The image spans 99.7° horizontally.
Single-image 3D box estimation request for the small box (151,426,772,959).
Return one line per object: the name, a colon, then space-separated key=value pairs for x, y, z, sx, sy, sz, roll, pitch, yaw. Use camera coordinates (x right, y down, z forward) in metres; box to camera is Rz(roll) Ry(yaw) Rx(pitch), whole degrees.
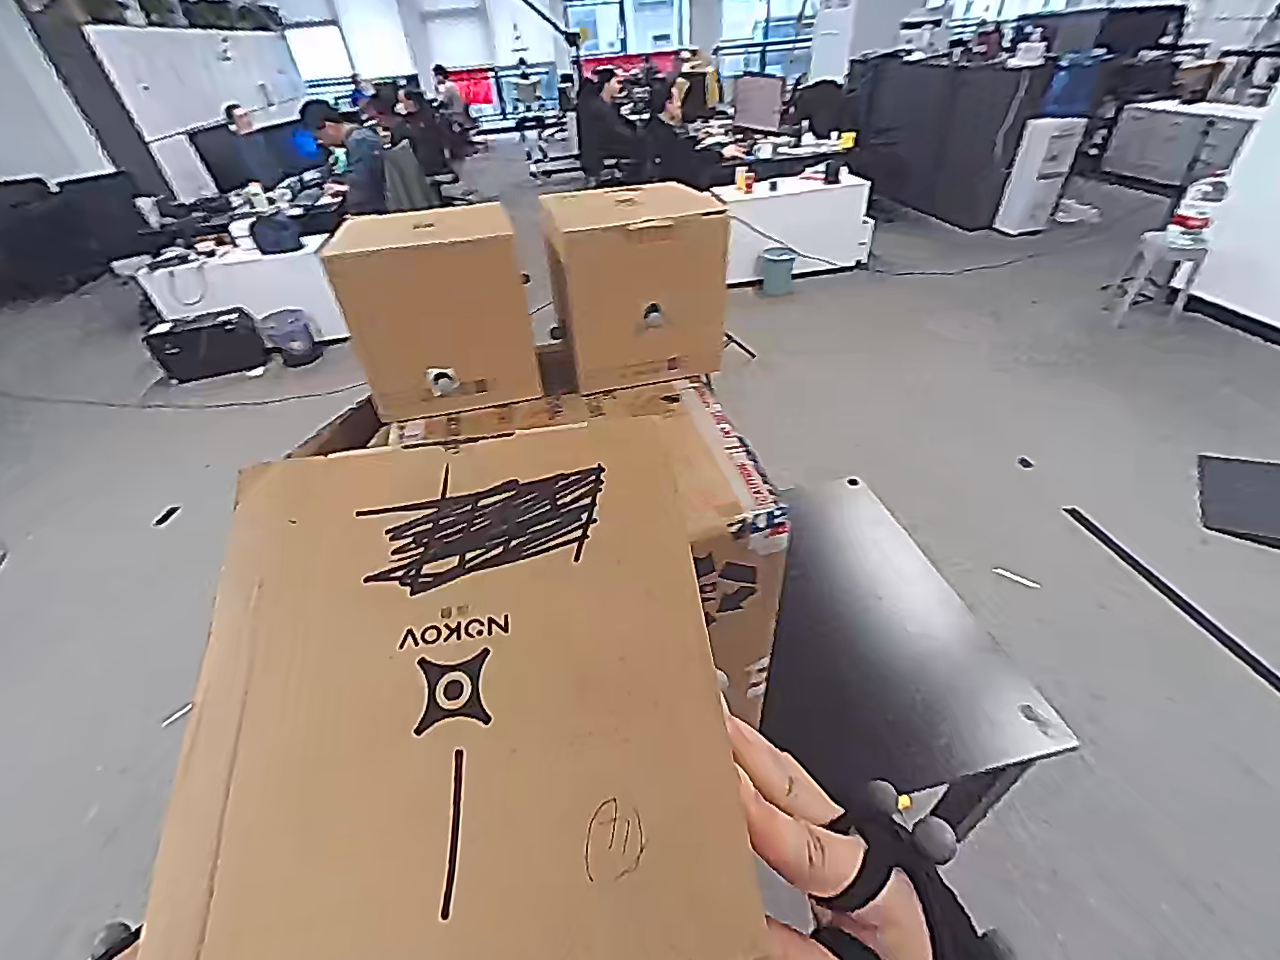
small box: x=-0.055 y=0.100 z=0.250 sx=0.168 sy=0.176 sz=0.179 roll=-7 pitch=61 yaw=-3
